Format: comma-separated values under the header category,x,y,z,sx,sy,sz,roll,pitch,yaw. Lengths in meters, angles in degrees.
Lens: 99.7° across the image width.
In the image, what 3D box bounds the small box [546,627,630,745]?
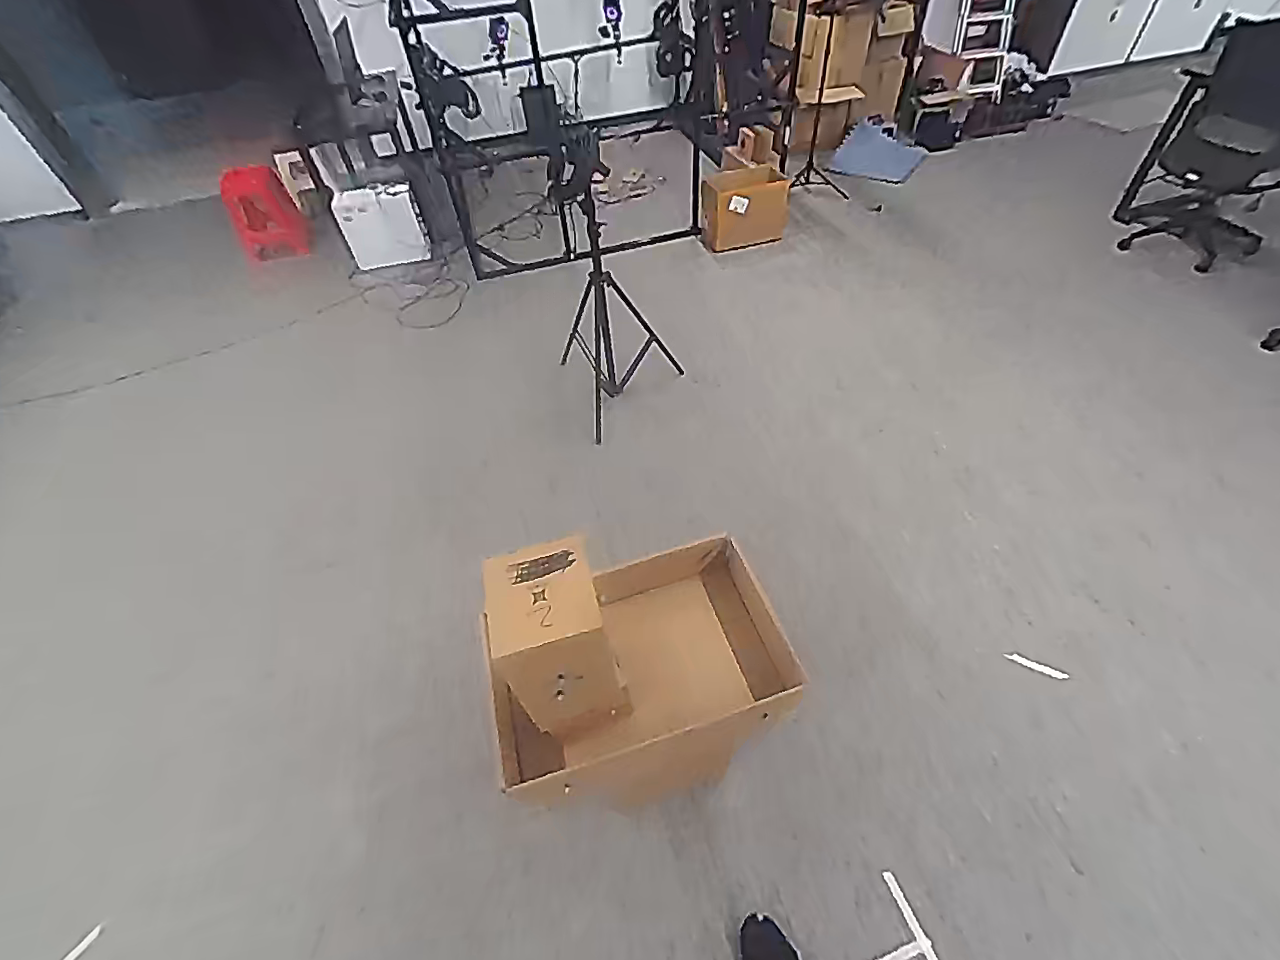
category,x,y,z,sx,sy,sz,roll,pitch,yaw
small box,-0.128,0.429,1.145,0.179,0.176,0.168,-20,49,-11

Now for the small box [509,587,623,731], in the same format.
category,x,y,z,sx,sy,sz,roll,pitch,yaw
small box,-0.137,0.335,1.011,0.168,0.176,0.179,-16,48,-7
